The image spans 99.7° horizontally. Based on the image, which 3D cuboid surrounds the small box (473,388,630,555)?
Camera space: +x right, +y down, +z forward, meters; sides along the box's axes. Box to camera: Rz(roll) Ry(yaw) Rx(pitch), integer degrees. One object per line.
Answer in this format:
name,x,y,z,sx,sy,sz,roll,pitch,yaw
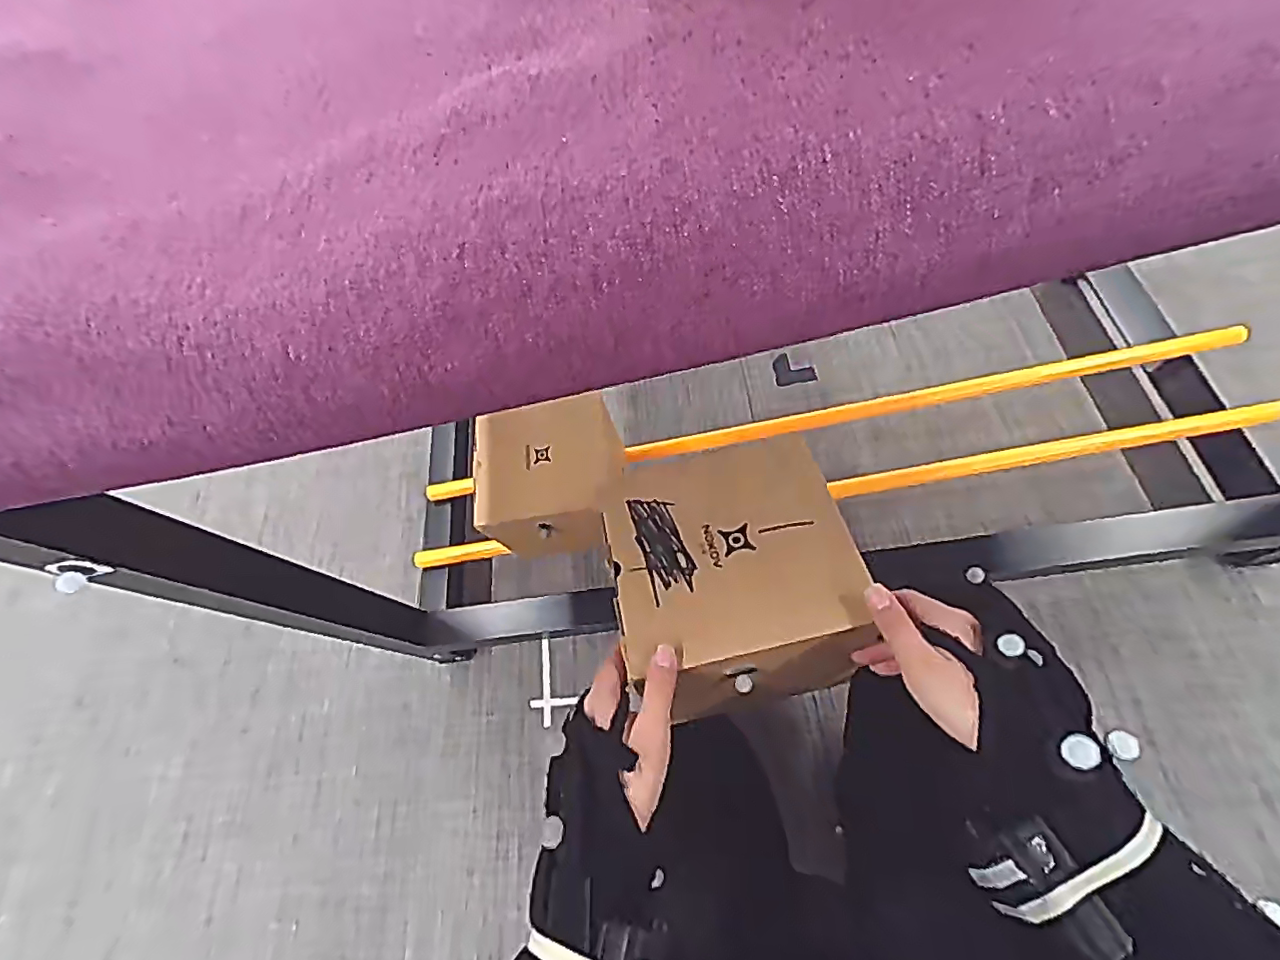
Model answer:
small box,-0.114,-0.004,0.755,0.179,0.176,0.168,-10,65,8
